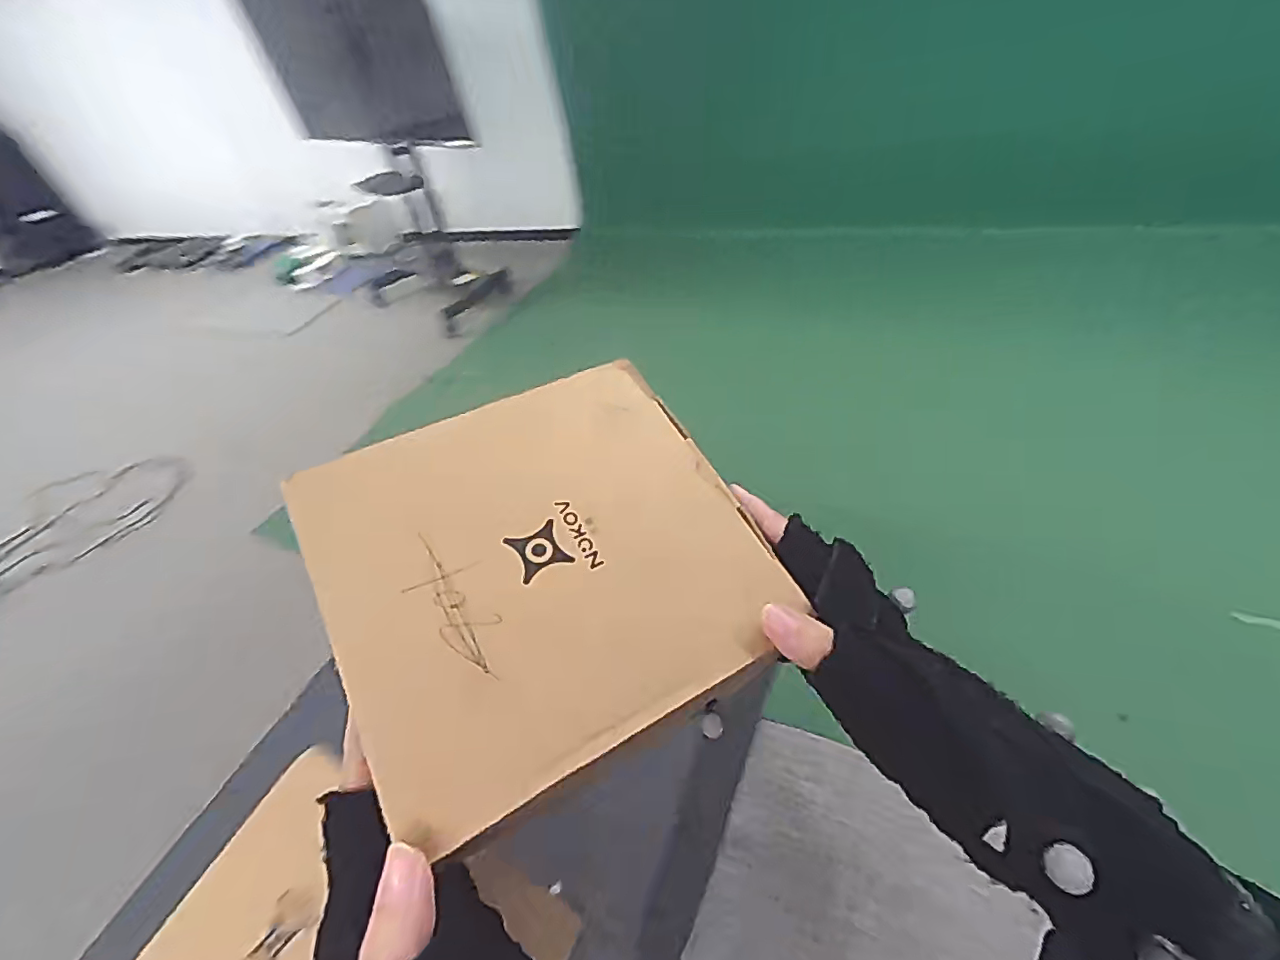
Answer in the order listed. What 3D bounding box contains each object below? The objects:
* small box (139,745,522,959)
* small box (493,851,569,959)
[{"bbox_3d":[-0.209,0.342,0.403,0.168,0.176,0.179,11,47,25],"label":"small box"},{"bbox_3d":[-0.185,0.456,0.515,0.168,0.176,0.179,12,48,27],"label":"small box"}]
